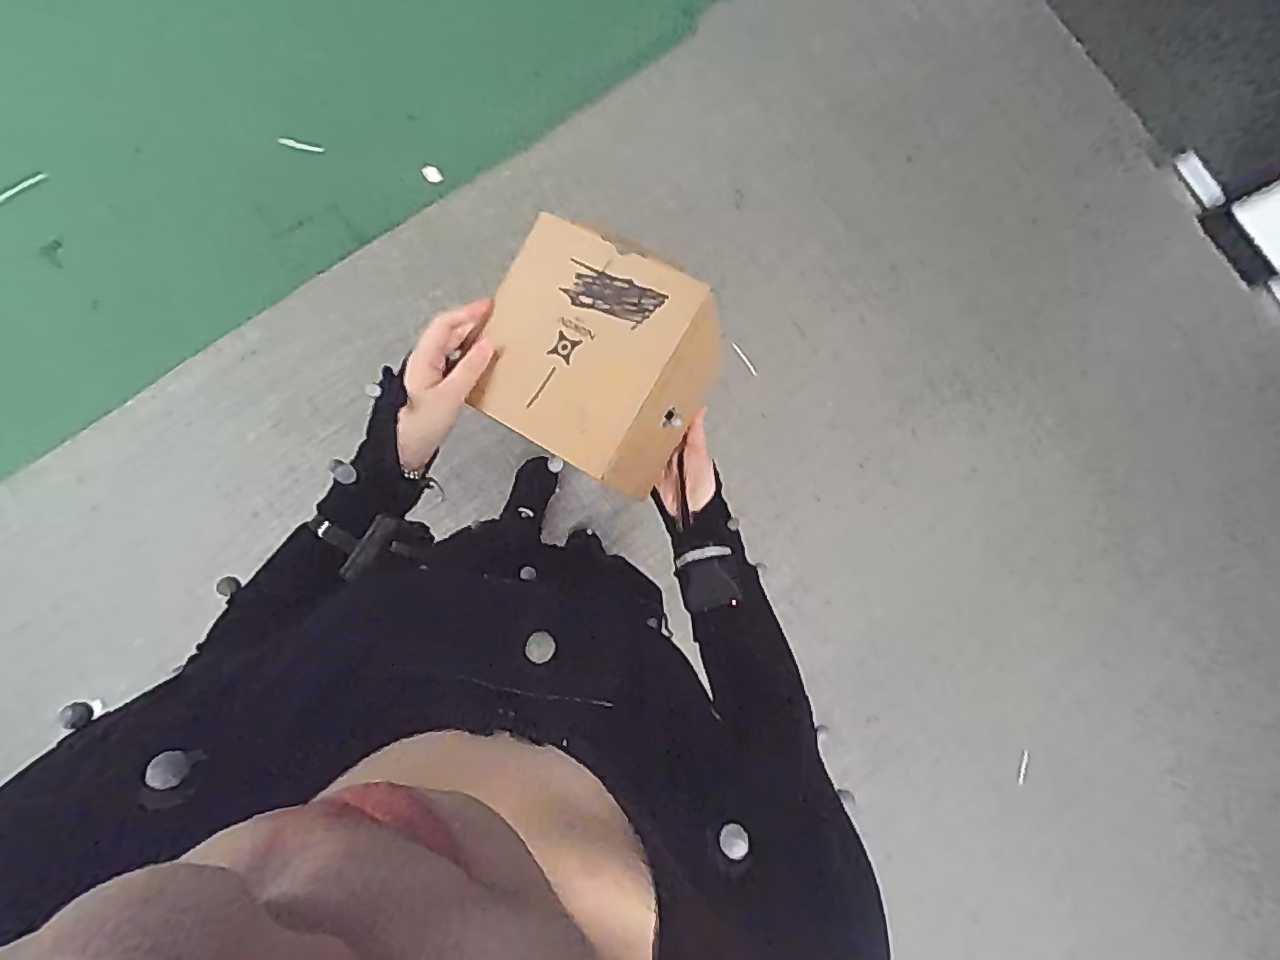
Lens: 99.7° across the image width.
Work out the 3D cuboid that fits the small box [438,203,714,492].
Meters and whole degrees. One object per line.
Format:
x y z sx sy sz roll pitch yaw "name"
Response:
-0.041 -0.106 0.503 0.168 0.176 0.179 30 90 15 "small box"
